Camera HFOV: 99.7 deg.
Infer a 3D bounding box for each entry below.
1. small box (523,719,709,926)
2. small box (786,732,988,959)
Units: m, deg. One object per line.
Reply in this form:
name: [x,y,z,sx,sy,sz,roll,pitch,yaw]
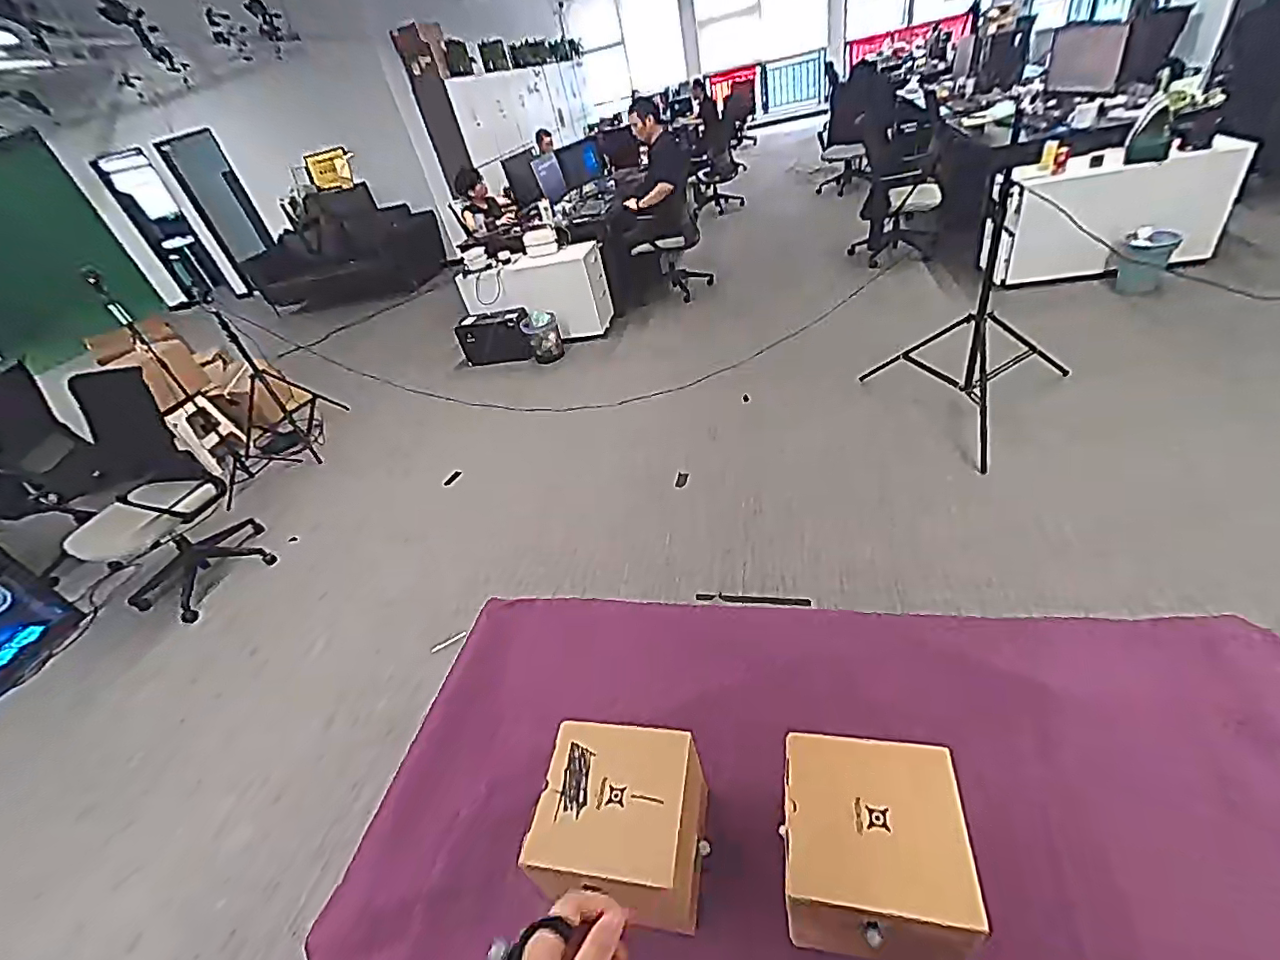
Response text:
small box: [-0.017,0.428,0.681,0.179,0.176,0.168,-2,39,16]
small box: [0.259,0.412,0.609,0.179,0.176,0.168,-3,38,17]
